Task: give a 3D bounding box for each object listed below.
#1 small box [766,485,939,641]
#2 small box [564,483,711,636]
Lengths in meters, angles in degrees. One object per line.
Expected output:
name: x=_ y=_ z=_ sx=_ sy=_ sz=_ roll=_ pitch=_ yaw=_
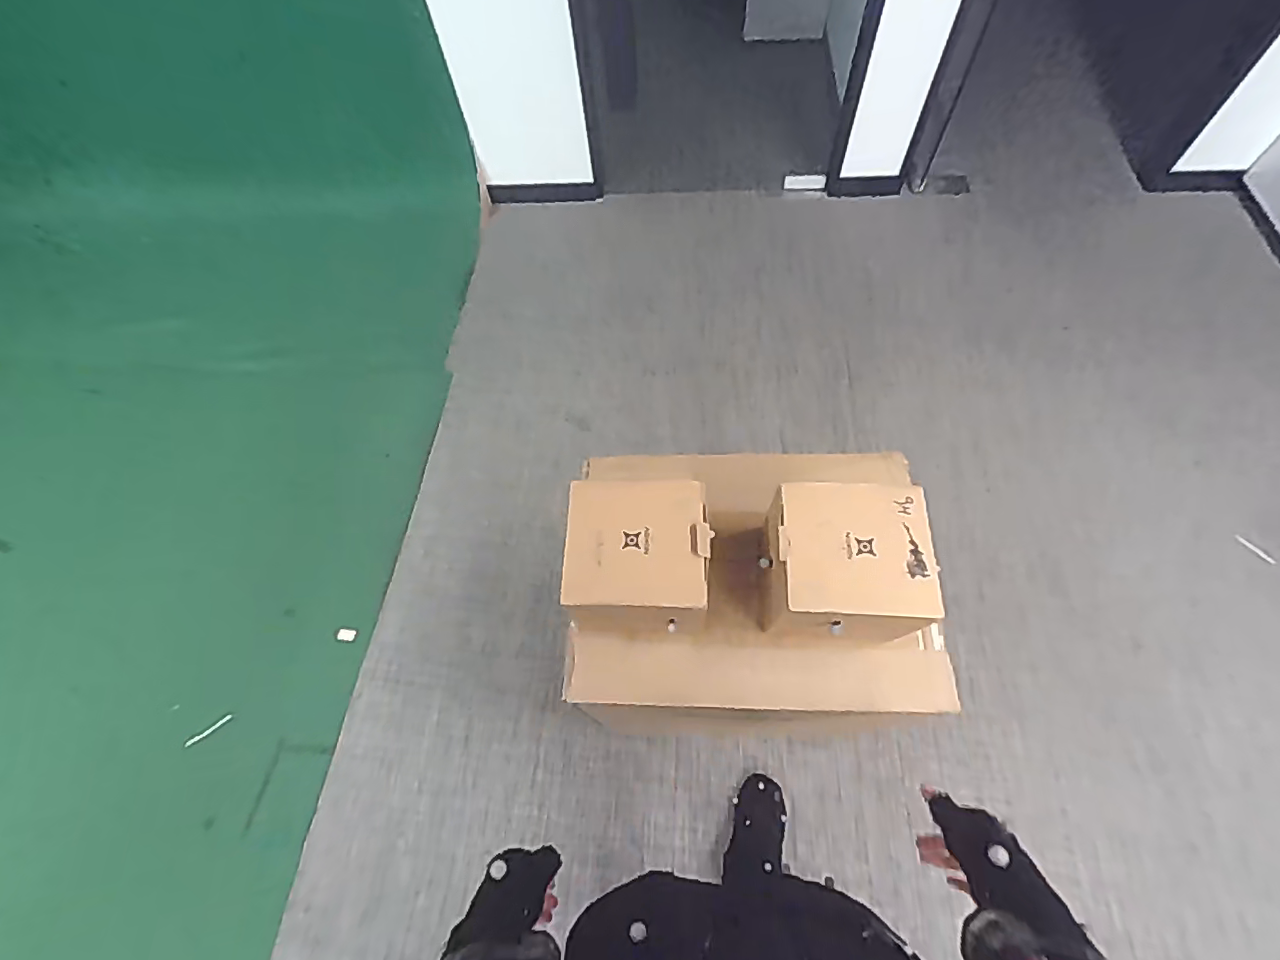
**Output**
small box: x=0.265 y=0.117 z=0.723 sx=0.179 sy=0.176 sz=0.168 roll=1 pitch=65 yaw=6
small box: x=0.003 y=0.114 z=0.744 sx=0.179 sy=0.176 sz=0.168 roll=0 pitch=63 yaw=5
